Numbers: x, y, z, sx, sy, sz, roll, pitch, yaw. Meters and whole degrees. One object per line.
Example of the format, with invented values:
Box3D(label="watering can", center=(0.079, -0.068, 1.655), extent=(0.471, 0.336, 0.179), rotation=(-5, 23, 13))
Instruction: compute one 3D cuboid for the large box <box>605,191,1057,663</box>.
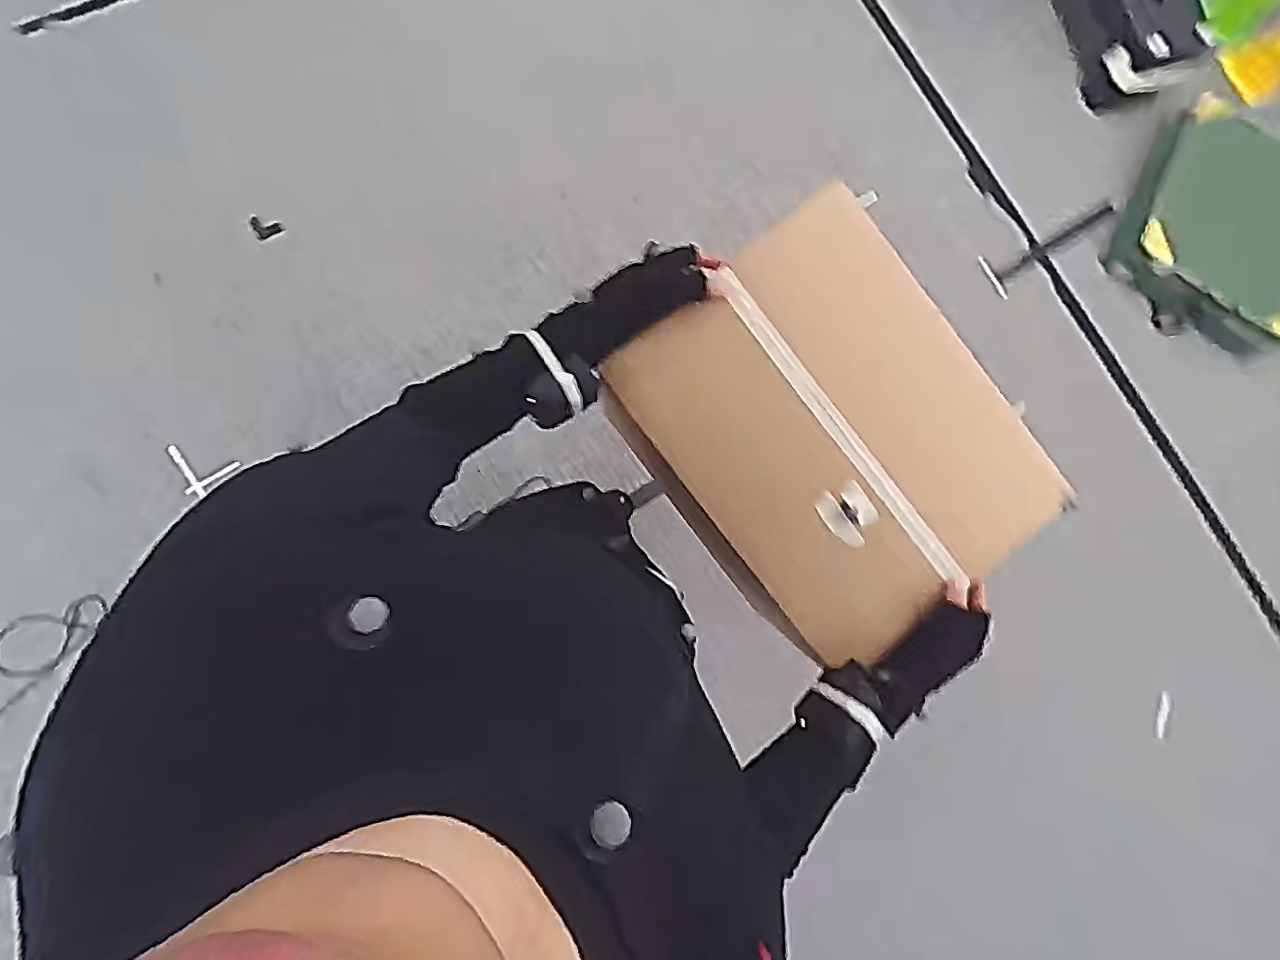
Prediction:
Box3D(label="large box", center=(0.194, -0.056, 0.706), extent=(0.320, 0.320, 0.408), rotation=(-38, 93, -2))
